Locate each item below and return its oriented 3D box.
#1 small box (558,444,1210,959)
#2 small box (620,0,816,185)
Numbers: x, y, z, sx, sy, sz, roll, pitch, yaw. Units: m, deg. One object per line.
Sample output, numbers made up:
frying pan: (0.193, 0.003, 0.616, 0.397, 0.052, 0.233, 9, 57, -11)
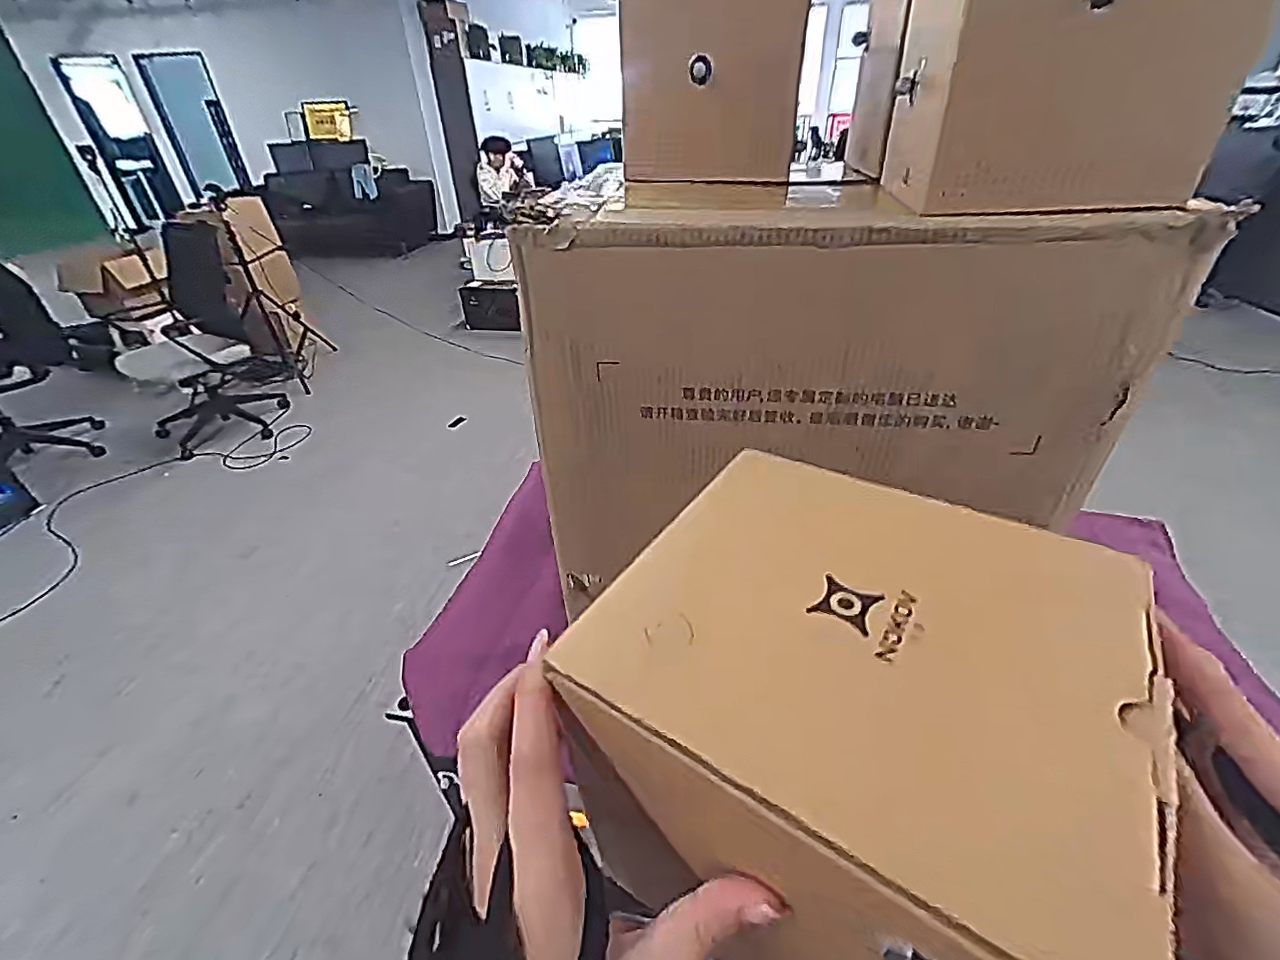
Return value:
small box: (0.090, 0.110, 0.242, 0.179, 0.176, 0.168, 20, 41, 30)
small box: (0.085, -0.420, 0.575, 0.179, 0.176, 0.168, 5, 34, 12)
